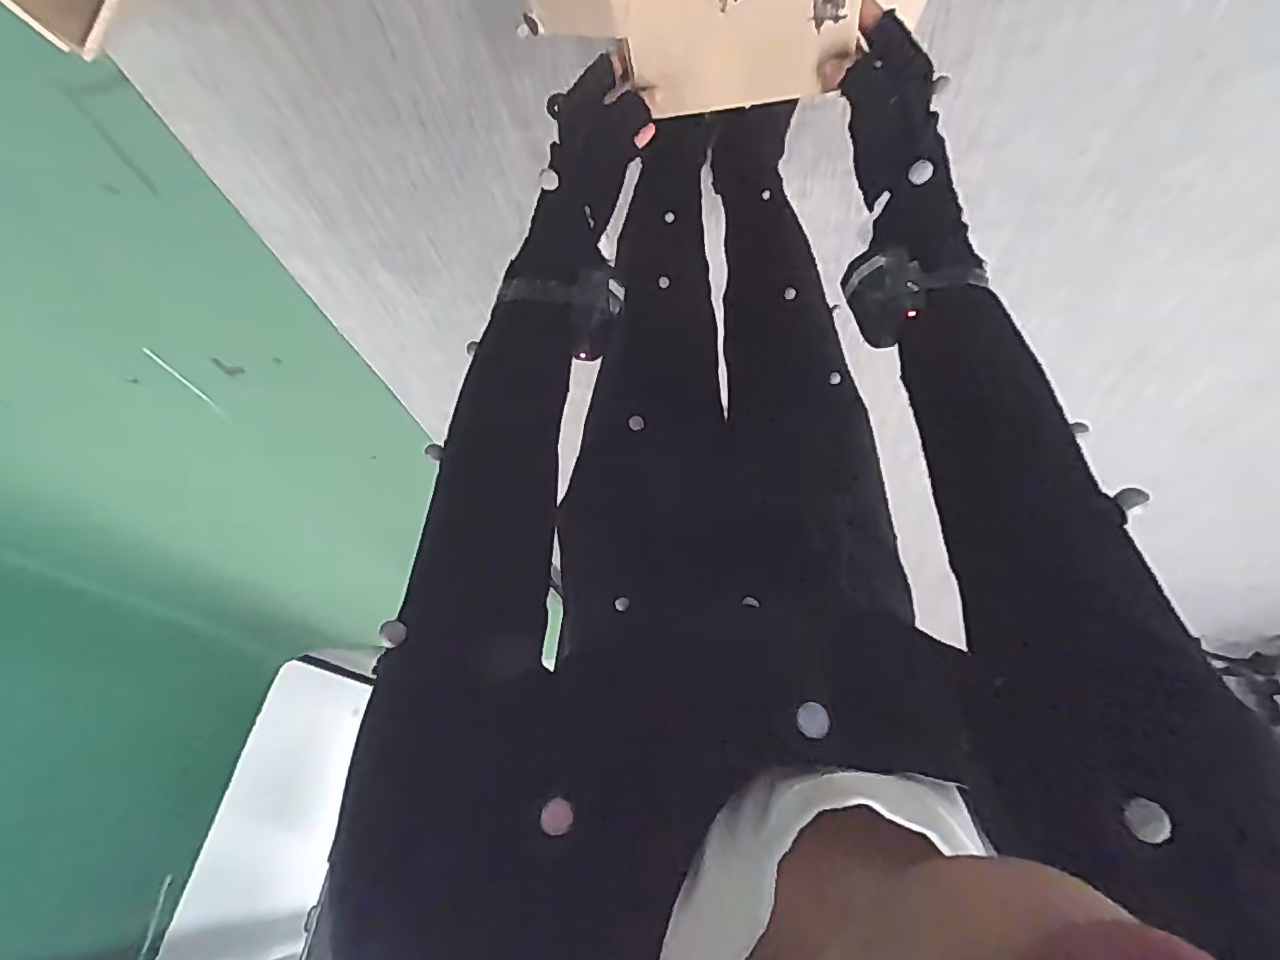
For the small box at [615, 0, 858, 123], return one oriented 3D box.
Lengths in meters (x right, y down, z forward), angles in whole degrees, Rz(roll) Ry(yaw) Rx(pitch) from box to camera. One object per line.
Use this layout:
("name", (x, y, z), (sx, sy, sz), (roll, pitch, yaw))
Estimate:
("small box", (0.077, -0.418, 0.424), (0.179, 0.176, 0.168), (0, 149, 12))
